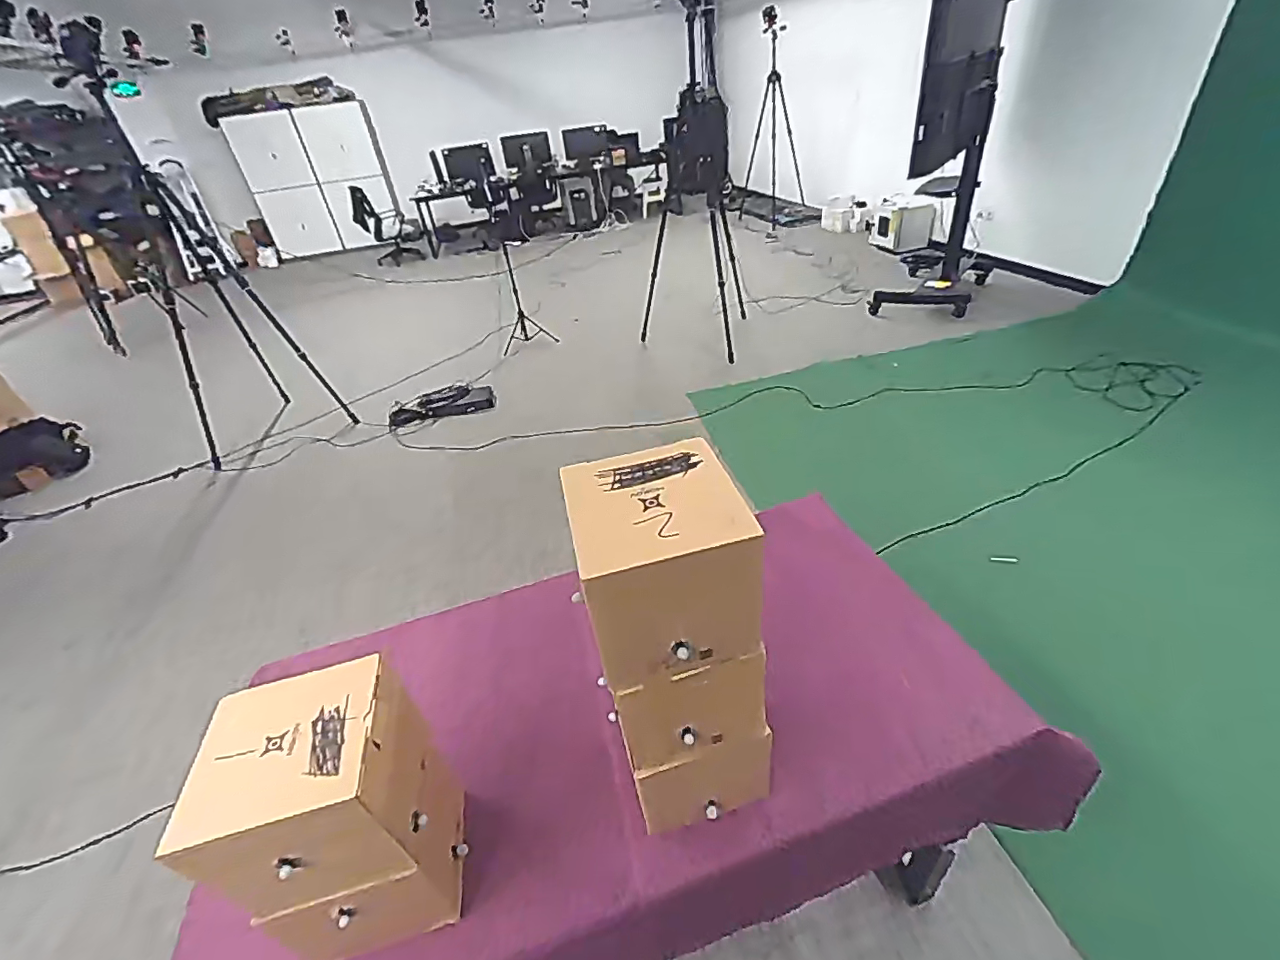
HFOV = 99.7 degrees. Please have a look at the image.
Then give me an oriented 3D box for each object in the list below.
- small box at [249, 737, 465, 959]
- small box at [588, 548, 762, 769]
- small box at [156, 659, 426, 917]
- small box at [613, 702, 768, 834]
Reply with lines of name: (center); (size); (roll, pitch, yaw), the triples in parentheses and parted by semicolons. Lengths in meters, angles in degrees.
small box: (-0.336, 0.468, 0.685); (0.179, 0.176, 0.168); (-13, 36, -8)
small box: (0.039, 0.218, 0.675); (0.168, 0.176, 0.179); (-14, 37, -8)
small box: (-0.351, 0.333, 0.593); (0.179, 0.176, 0.168); (-15, 37, -8)
small box: (0.063, 0.355, 0.761); (0.179, 0.176, 0.168); (-14, 35, -9)
